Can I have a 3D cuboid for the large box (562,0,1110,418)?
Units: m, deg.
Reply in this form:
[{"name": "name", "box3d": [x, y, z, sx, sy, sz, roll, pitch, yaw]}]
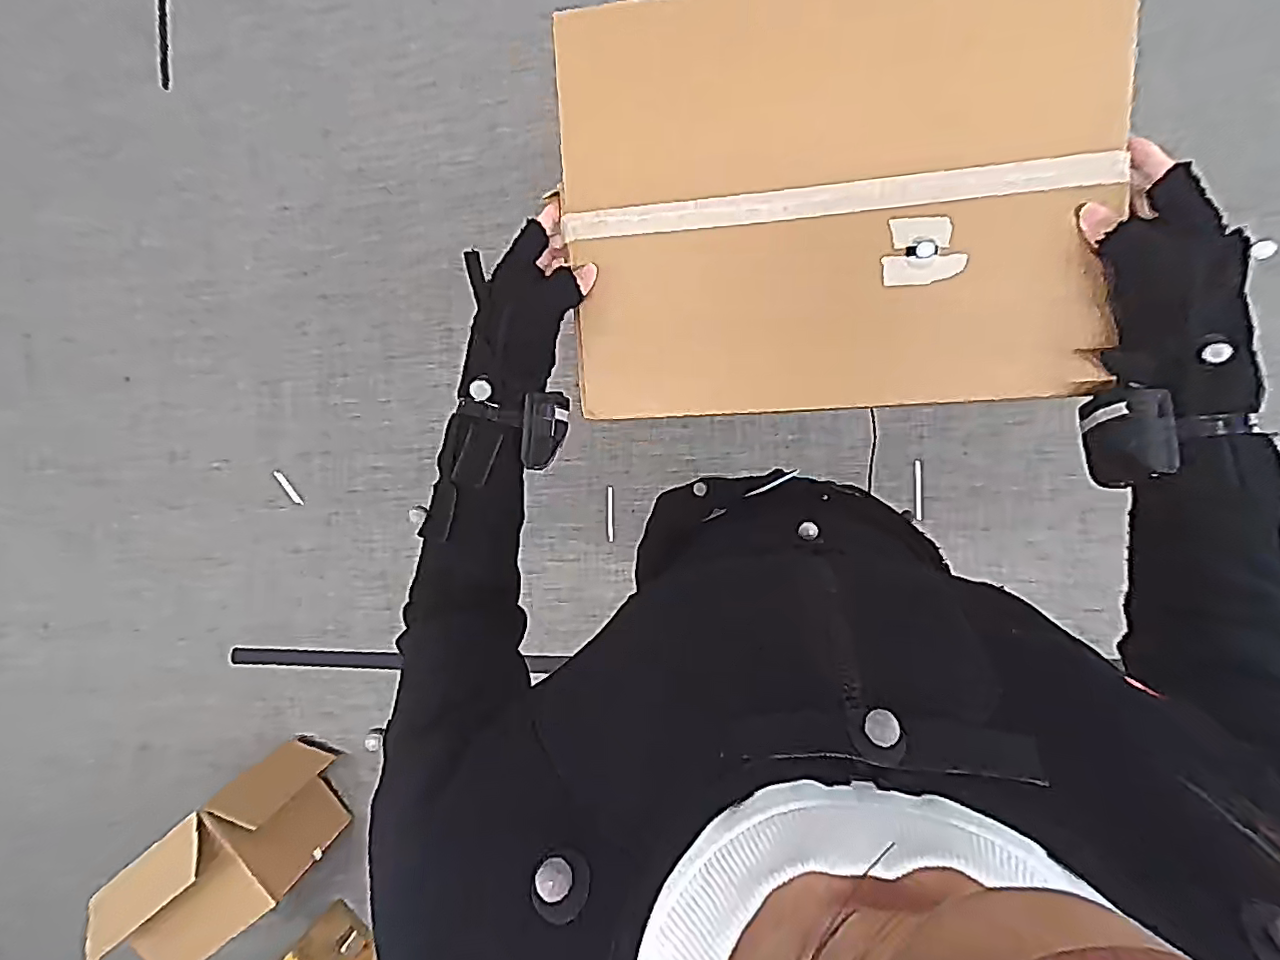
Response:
[{"name": "large box", "box3d": [0.161, -0.237, 0.570, 0.408, 0.320, 0.320, -2, 99, 8]}]
